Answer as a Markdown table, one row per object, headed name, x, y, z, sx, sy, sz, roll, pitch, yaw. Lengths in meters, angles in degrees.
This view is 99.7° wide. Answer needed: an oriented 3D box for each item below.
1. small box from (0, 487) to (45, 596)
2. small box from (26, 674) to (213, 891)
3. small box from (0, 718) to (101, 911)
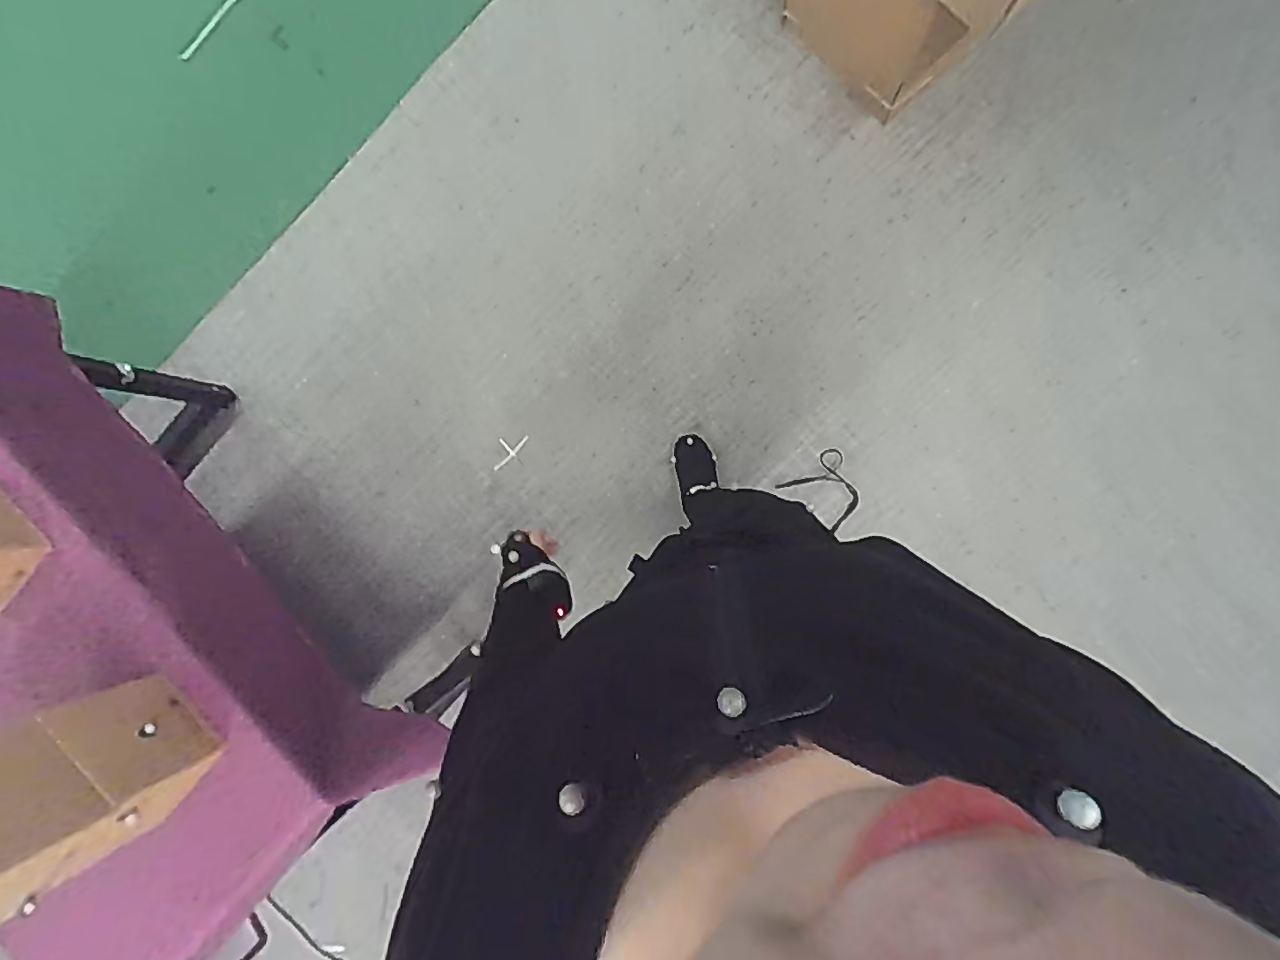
| name | x | y | z | sx | sy | sz | roll | pitch | yaw |
| --- | --- | --- | --- | --- | --- | --- | --- | --- | --- |
| small box | -1.089 | 0.102 | 0.820 | 0.179 | 0.176 | 0.168 | 42 | 94 | 5 |
| small box | -0.771 | 0.414 | 0.776 | 0.168 | 0.176 | 0.179 | 44 | 95 | 6 |
| small box | -0.790 | 0.411 | 0.612 | 0.179 | 0.176 | 0.168 | 43 | 94 | 6 |
